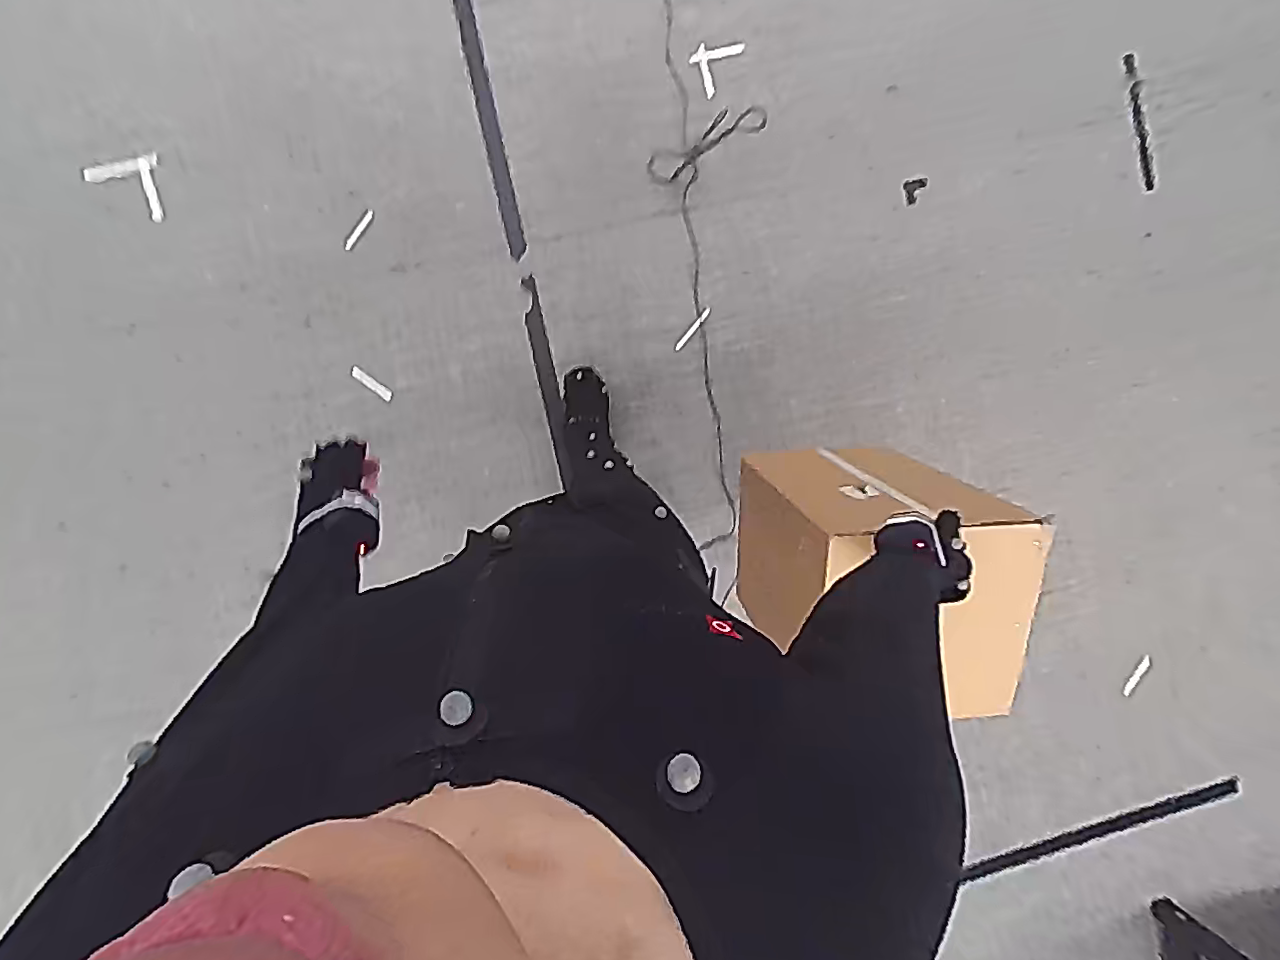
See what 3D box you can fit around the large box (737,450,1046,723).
[{"bbox_3d":[0.380,0.149,0.949,0.320,0.408,0.320,-4,108,-6],"label":"large box"}]
